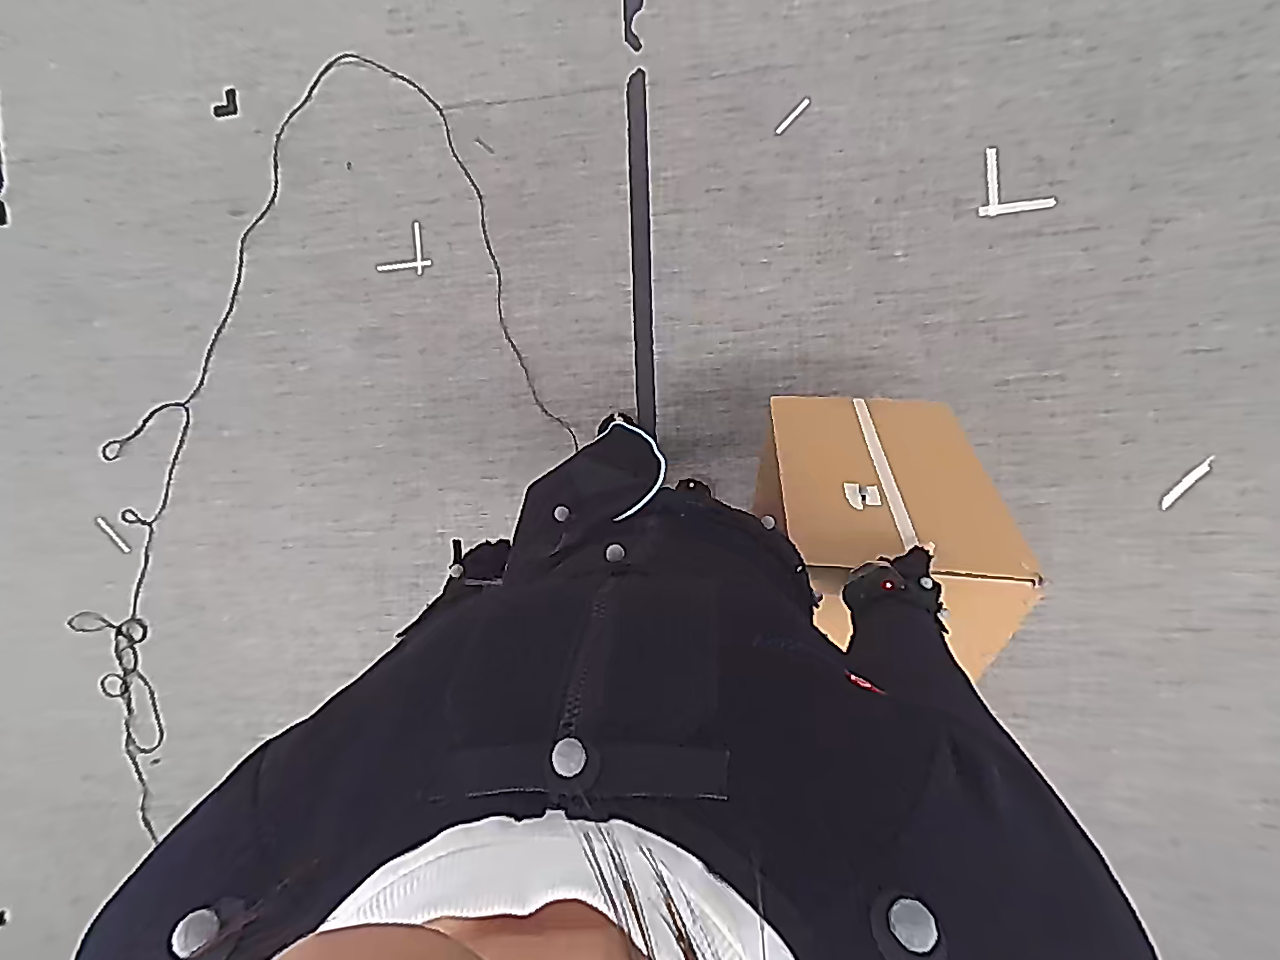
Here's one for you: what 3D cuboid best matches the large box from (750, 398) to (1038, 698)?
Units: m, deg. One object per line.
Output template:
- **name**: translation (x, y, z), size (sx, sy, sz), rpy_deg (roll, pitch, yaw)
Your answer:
- **large box**: translation (0.367, 0.102, 0.928), size (0.320, 0.408, 0.320), rpy_deg (2, 132, 7)
